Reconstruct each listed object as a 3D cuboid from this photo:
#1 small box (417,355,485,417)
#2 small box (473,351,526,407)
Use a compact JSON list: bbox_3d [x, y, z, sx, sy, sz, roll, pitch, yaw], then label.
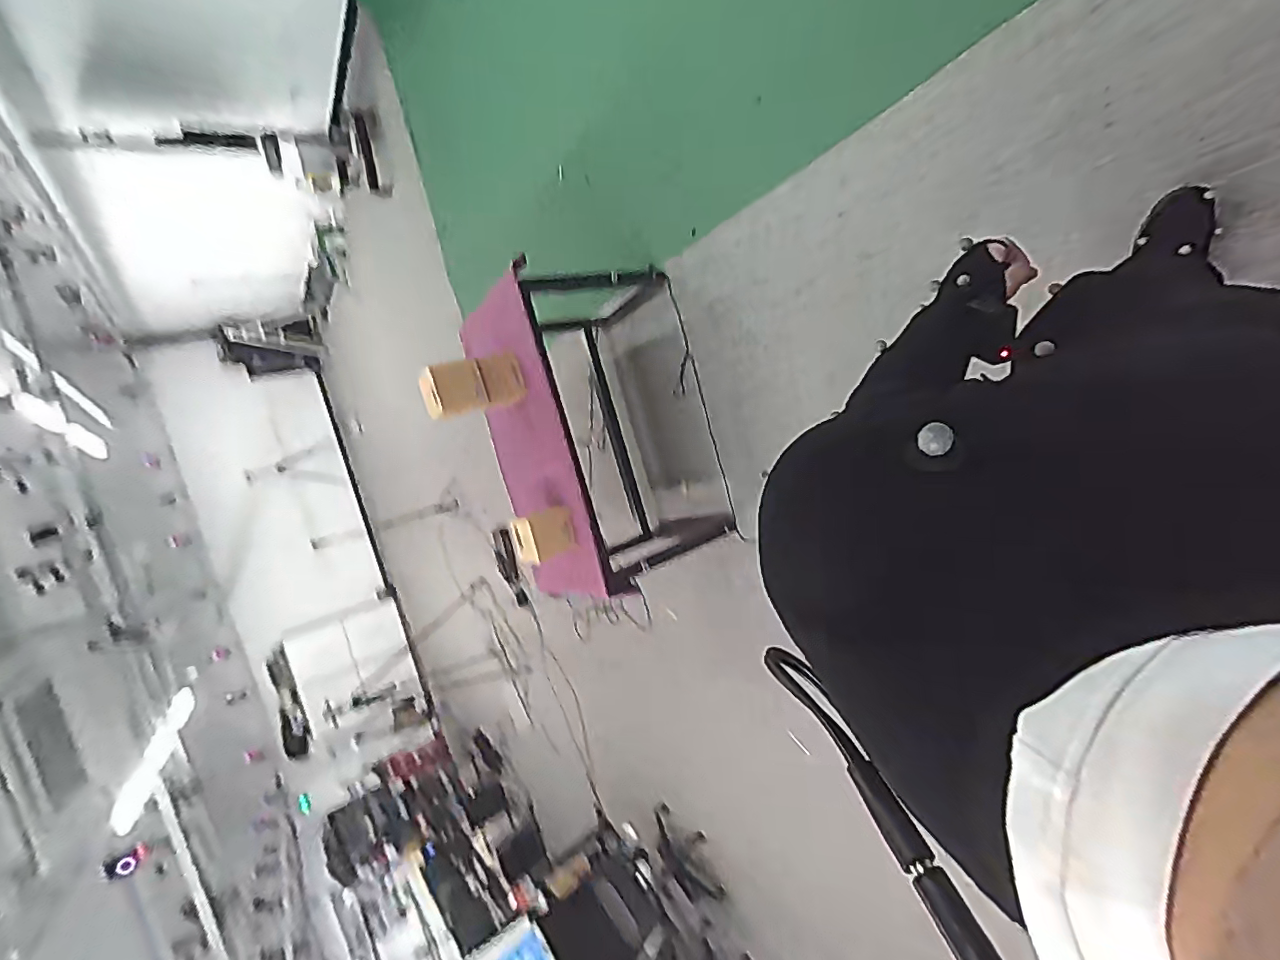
[{"bbox_3d":[-0.669,-0.335,1.926,0.179,0.176,0.168,-10,98,57],"label":"small box"},{"bbox_3d":[-0.553,-0.379,2.034,0.179,0.176,0.168,-7,101,55],"label":"small box"}]
